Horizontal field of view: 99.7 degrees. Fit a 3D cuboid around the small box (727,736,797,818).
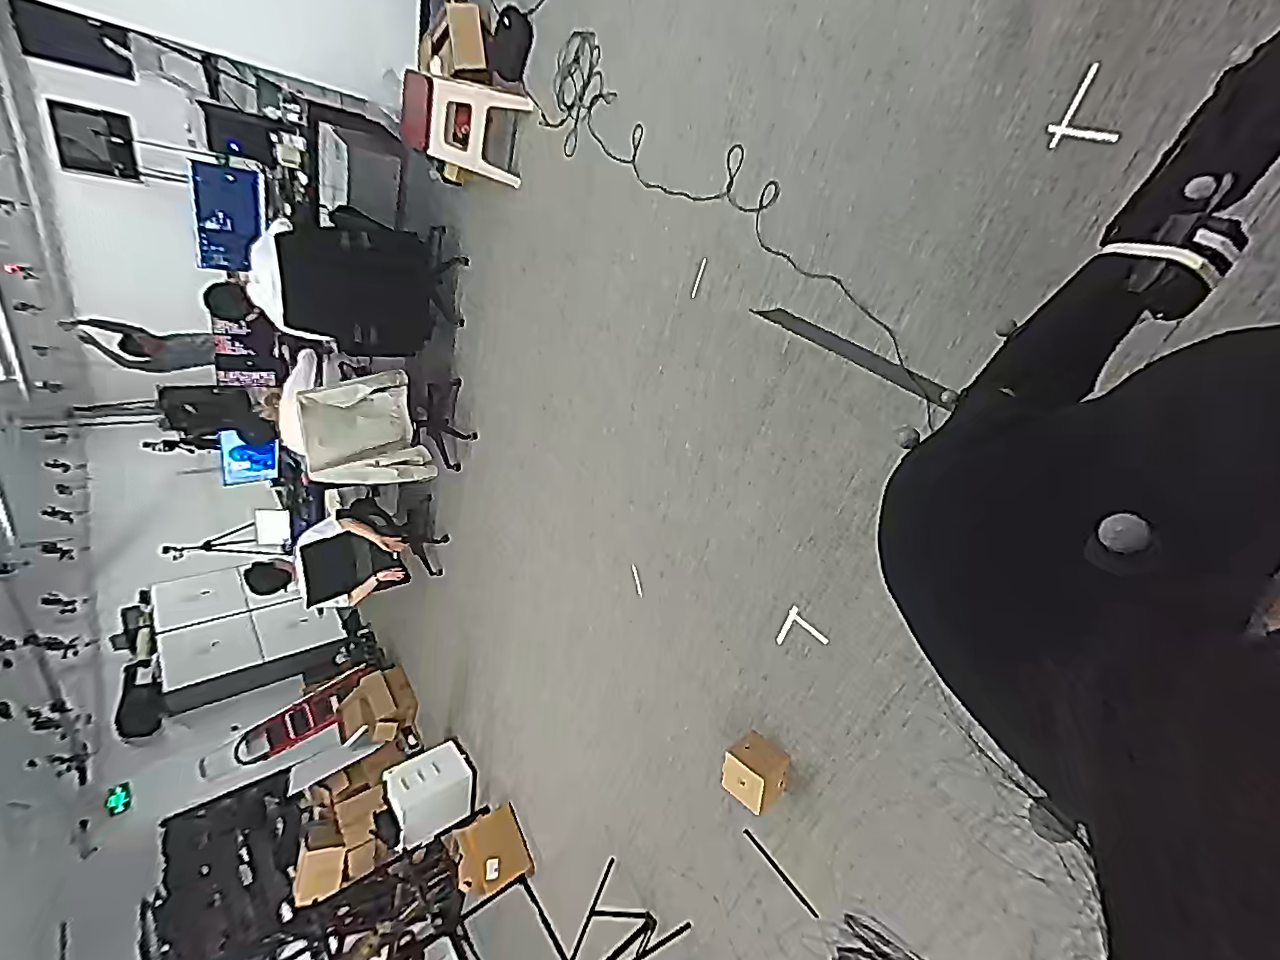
[{"bbox_3d":[0.447,1.075,1.981,0.179,0.176,0.168,20,113,45],"label":"small box"}]
